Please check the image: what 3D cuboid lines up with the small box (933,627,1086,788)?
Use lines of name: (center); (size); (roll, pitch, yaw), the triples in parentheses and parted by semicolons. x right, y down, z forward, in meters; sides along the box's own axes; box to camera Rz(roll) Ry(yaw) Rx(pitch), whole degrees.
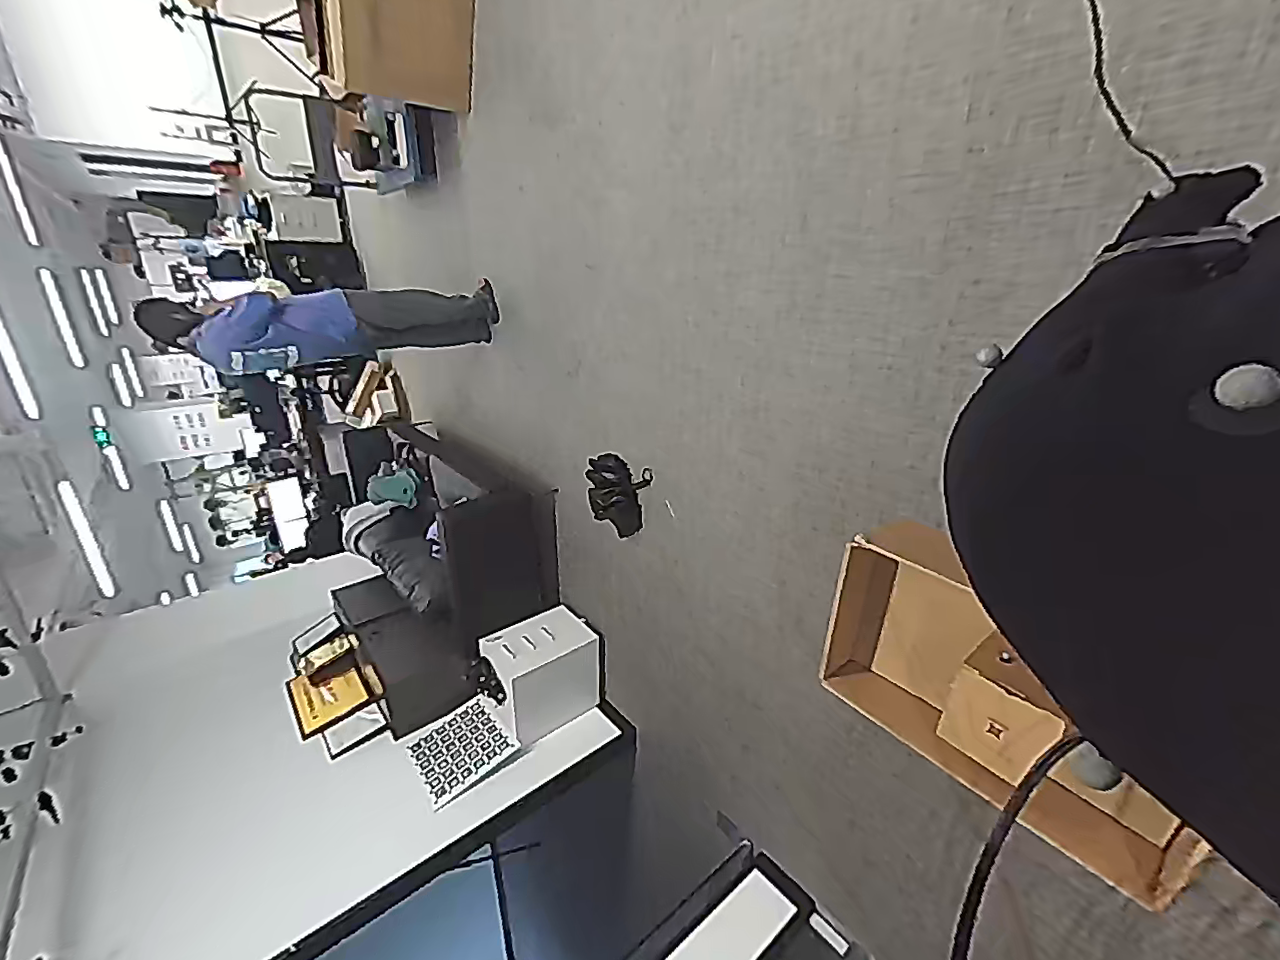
small box: (0.674, 0.402, 0.987); (0.168, 0.176, 0.179); (29, 127, 46)
